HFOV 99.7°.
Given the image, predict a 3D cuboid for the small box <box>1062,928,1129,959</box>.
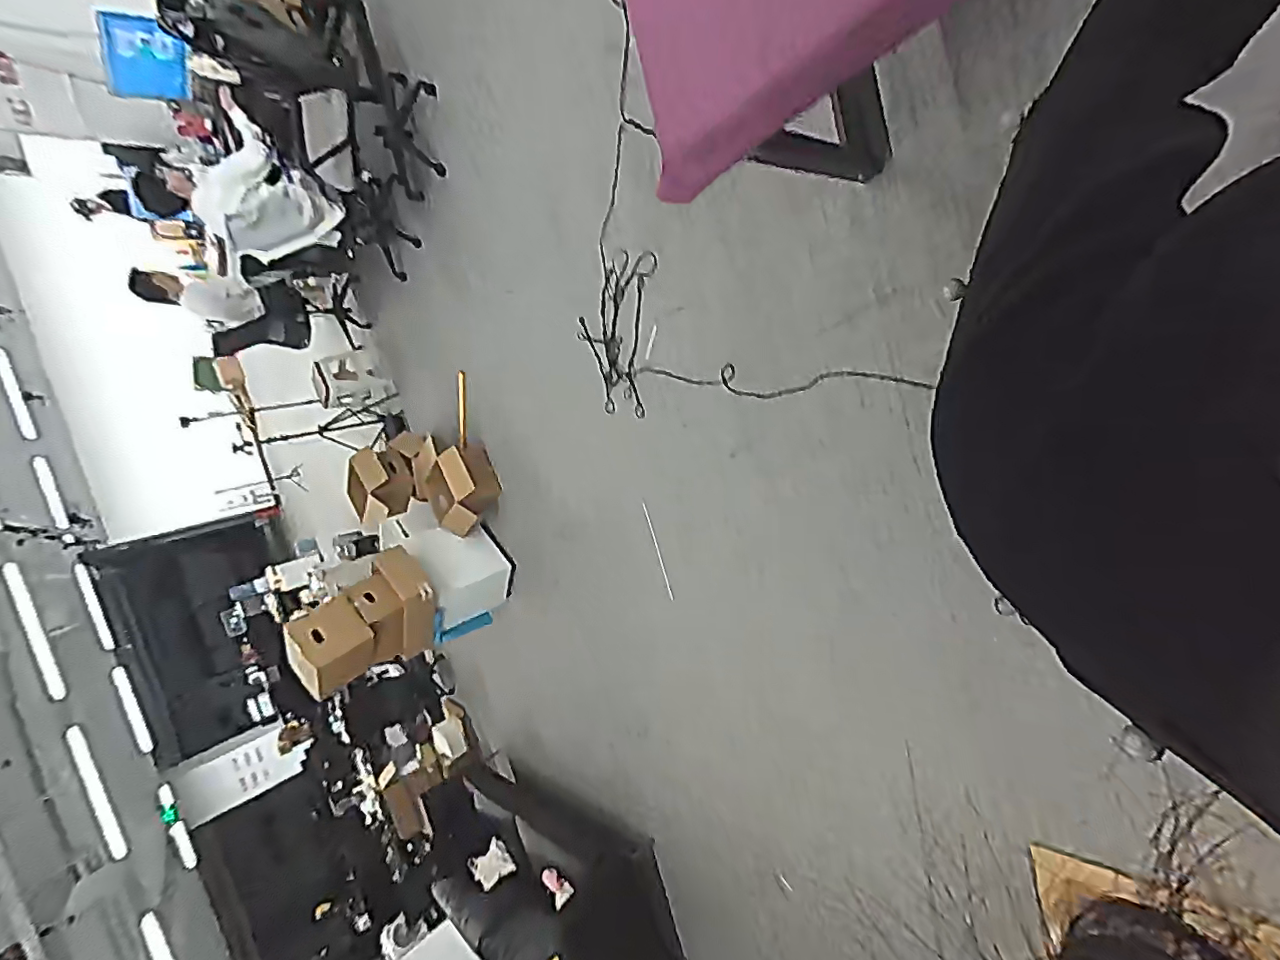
[{"bbox_3d":[1.083,1.226,1.267,0.168,0.176,0.179,19,119,44],"label":"small box"}]
